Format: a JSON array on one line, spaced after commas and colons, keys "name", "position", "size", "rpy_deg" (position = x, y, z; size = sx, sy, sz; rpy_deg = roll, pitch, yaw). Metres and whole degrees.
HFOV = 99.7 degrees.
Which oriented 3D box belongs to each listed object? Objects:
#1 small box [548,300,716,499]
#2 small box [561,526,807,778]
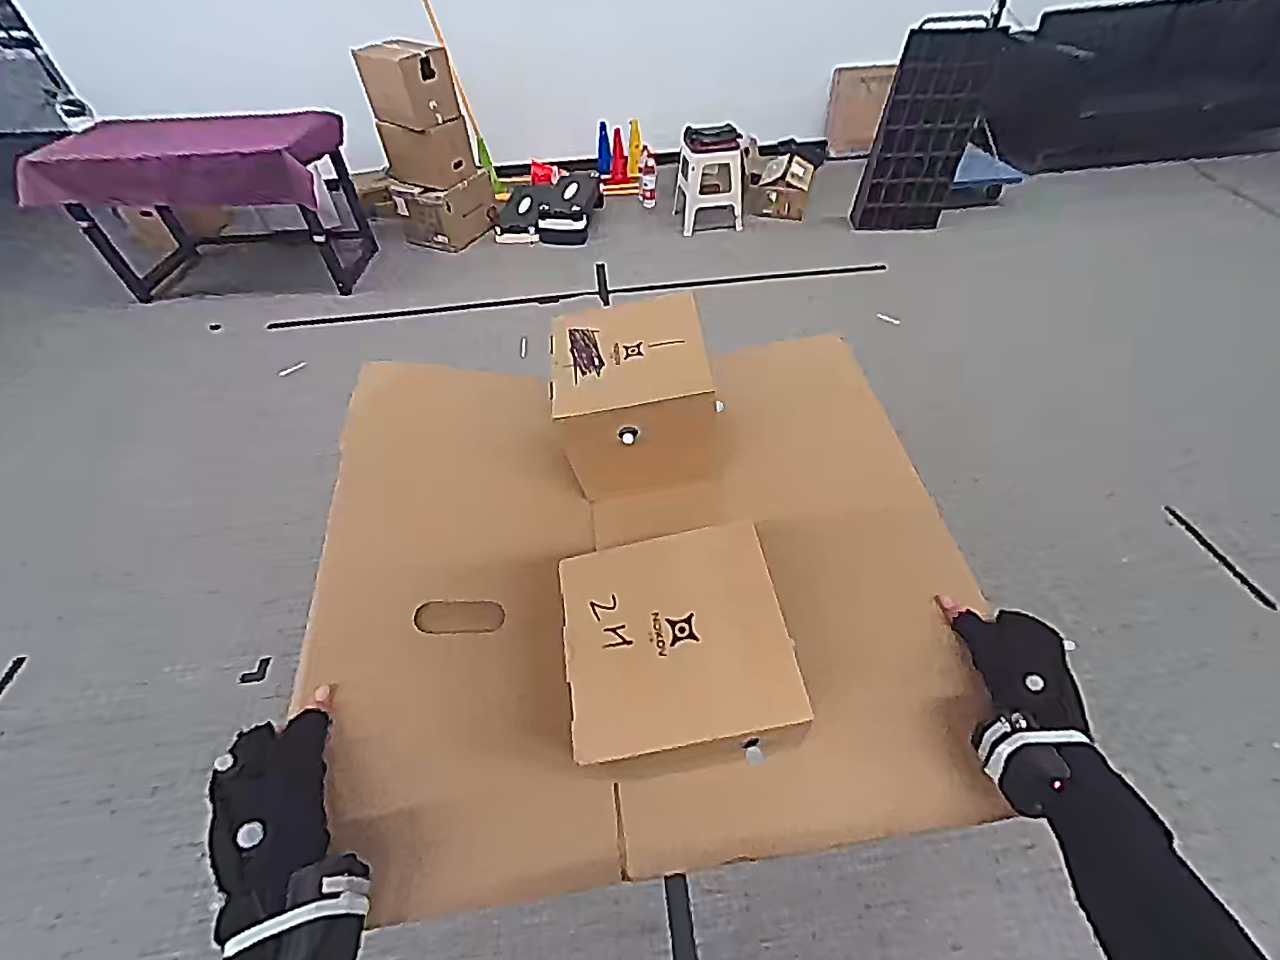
[{"name": "small box", "position": [-0.006, -0.092, 0.679], "size": [0.179, 0.176, 0.168], "rpy_deg": [-10, 56, 4]}, {"name": "small box", "position": [0.038, 0.166, 0.501], "size": [0.179, 0.176, 0.168], "rpy_deg": [-13, 55, 4]}]
